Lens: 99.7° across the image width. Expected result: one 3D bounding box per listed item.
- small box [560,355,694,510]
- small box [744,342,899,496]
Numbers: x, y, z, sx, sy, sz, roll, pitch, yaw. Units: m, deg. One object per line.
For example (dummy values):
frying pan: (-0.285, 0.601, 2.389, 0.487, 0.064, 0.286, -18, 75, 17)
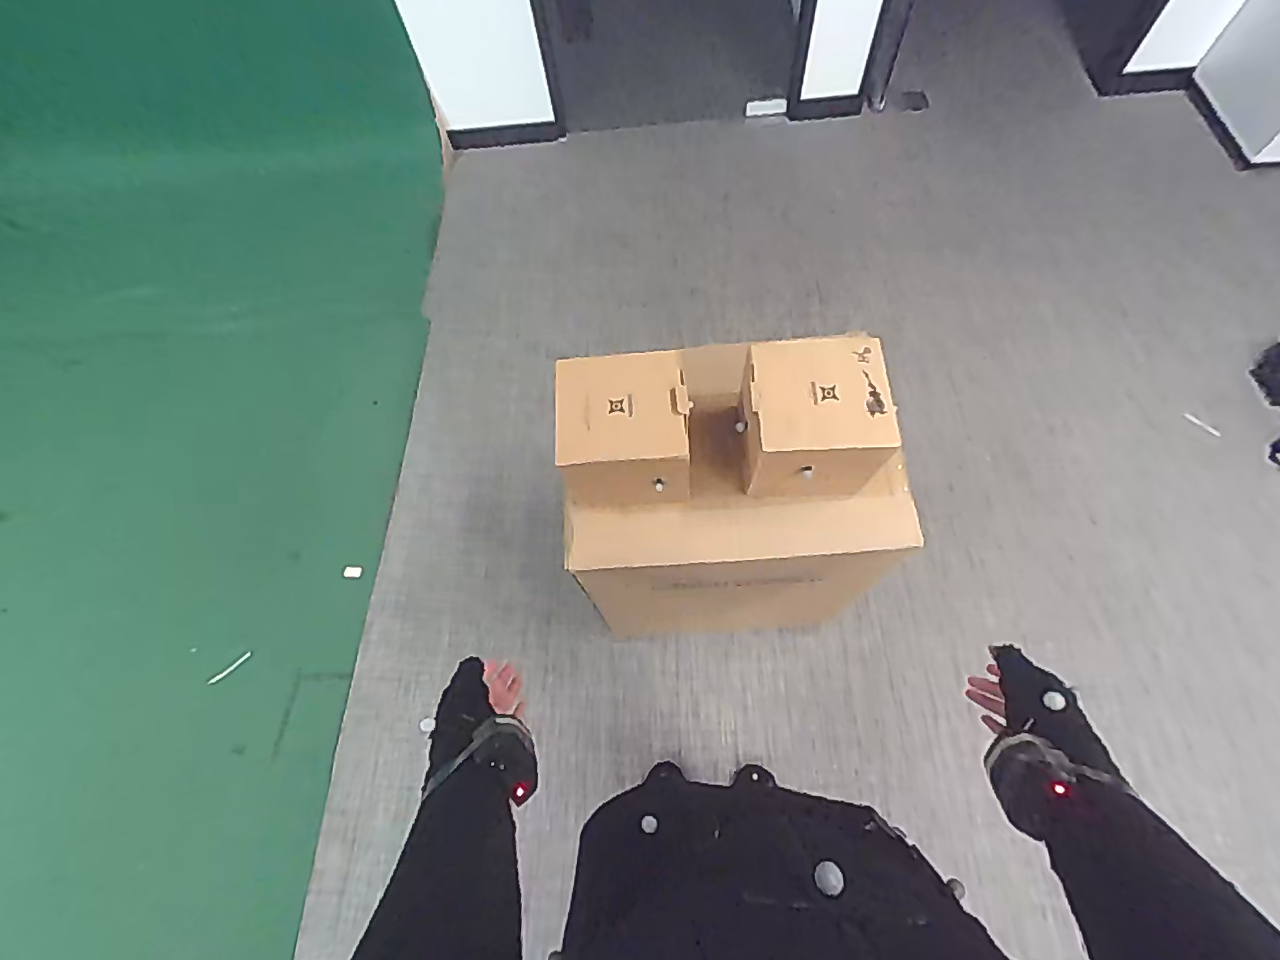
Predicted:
small box: (-0.015, -0.063, 0.803, 0.179, 0.176, 0.168, -5, 67, 4)
small box: (0.246, -0.080, 0.787, 0.179, 0.176, 0.168, -2, 68, 4)
